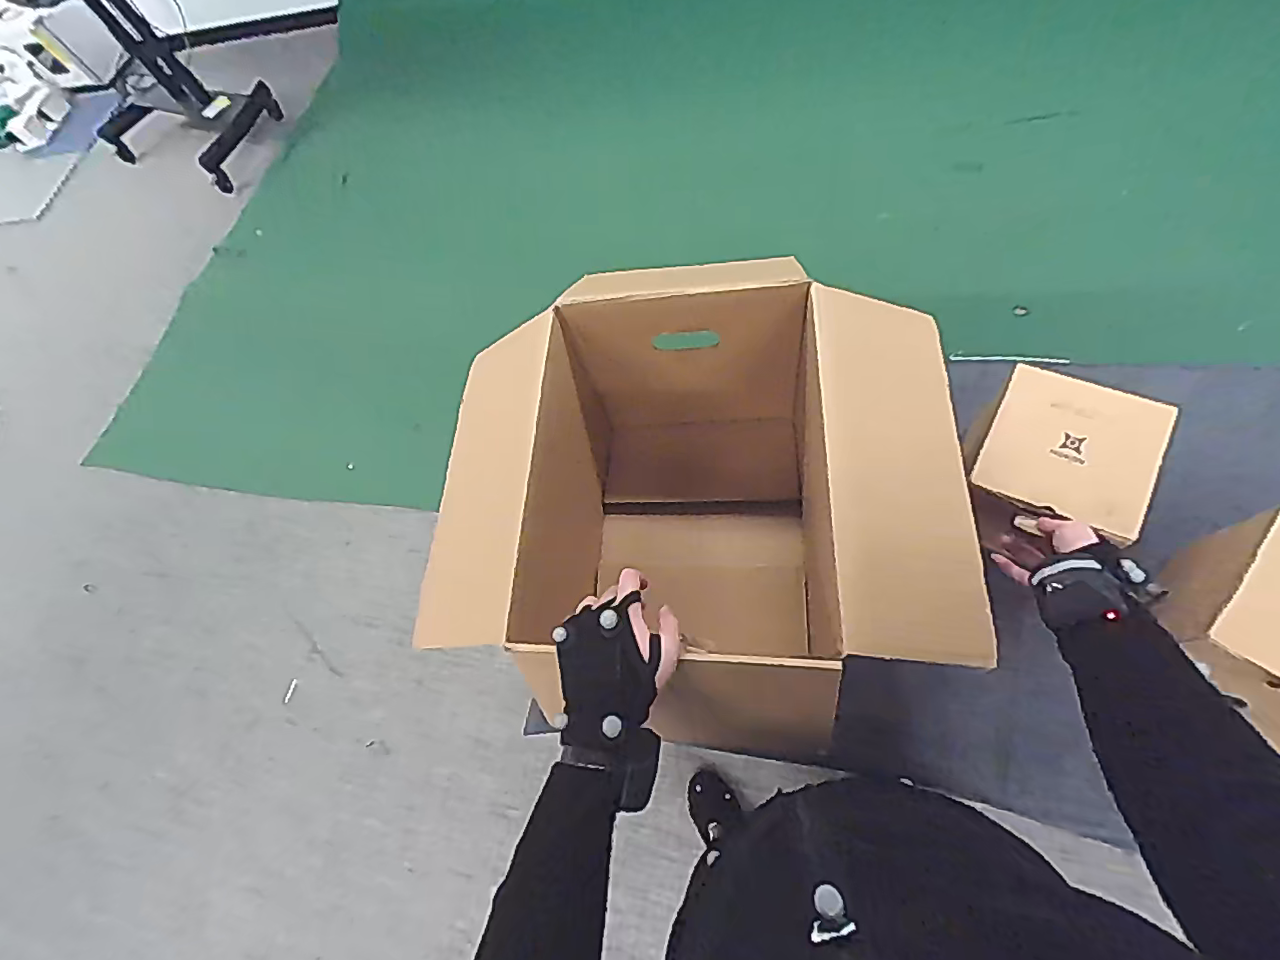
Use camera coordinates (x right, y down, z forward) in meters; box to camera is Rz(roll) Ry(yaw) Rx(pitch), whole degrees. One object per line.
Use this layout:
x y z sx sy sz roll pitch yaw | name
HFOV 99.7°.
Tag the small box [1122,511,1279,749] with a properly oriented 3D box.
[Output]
0.675 0.166 0.575 0.168 0.176 0.179 38 80 24 | small box
